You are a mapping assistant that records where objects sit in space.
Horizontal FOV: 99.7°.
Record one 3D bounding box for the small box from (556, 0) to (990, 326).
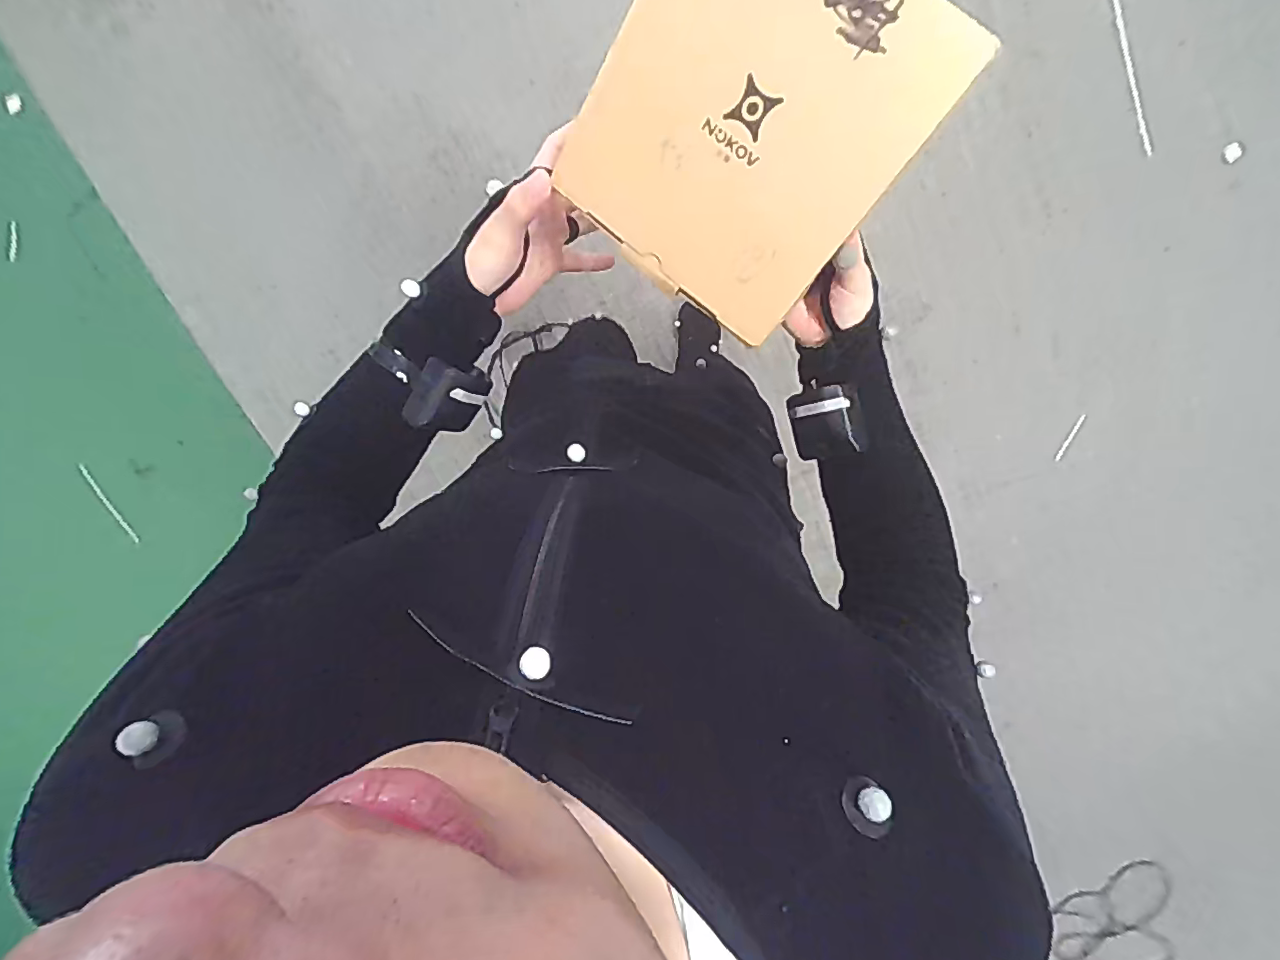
[{"bbox_3d":[0.080,-0.229,0.359,0.168,0.176,0.179,38,118,2],"label":"small box"}]
